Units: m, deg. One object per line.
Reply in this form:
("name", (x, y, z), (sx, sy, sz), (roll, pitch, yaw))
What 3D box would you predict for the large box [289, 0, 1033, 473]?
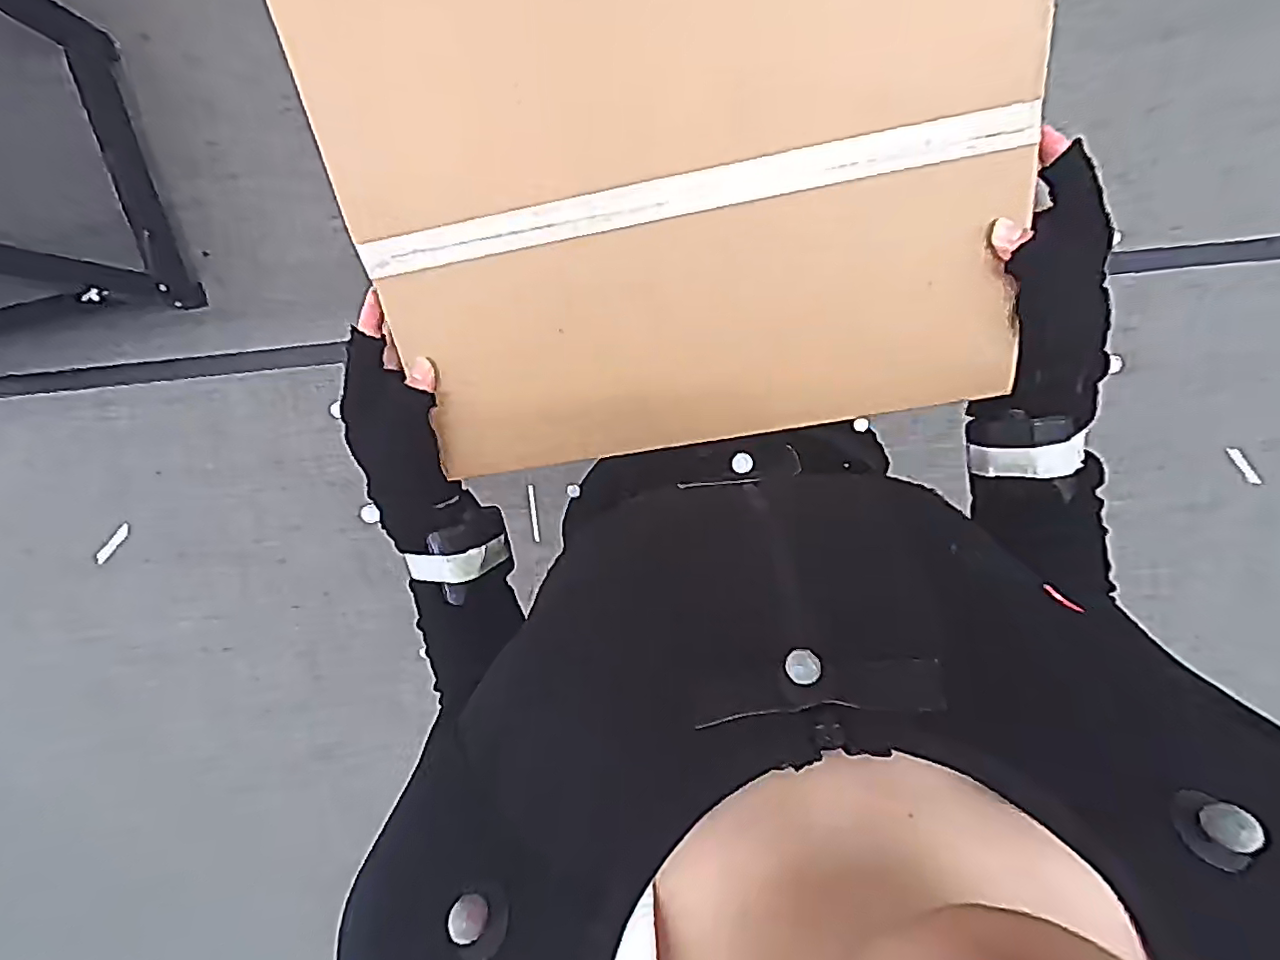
("large box", (0.029, -0.233, 0.471), (0.408, 0.320, 0.320), (-9, 115, 6))
